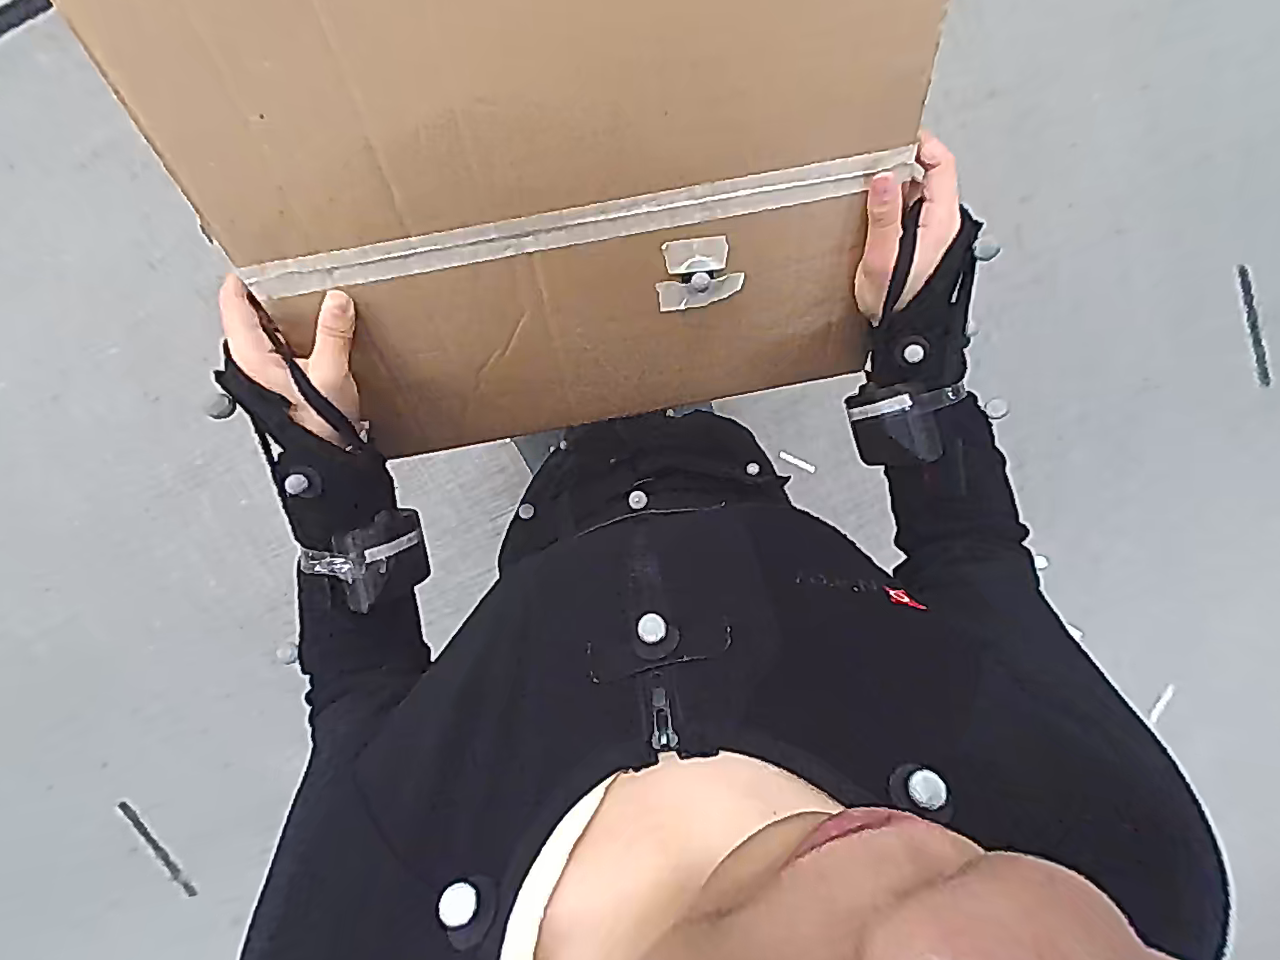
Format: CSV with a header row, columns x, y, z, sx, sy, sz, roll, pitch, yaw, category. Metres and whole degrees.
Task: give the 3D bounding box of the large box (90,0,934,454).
x,y,z,sx,sy,sz,roll,pitch,yaw,category
-0.058,-0.268,0.437,0.408,0.320,0.320,-11,139,-2,large box
